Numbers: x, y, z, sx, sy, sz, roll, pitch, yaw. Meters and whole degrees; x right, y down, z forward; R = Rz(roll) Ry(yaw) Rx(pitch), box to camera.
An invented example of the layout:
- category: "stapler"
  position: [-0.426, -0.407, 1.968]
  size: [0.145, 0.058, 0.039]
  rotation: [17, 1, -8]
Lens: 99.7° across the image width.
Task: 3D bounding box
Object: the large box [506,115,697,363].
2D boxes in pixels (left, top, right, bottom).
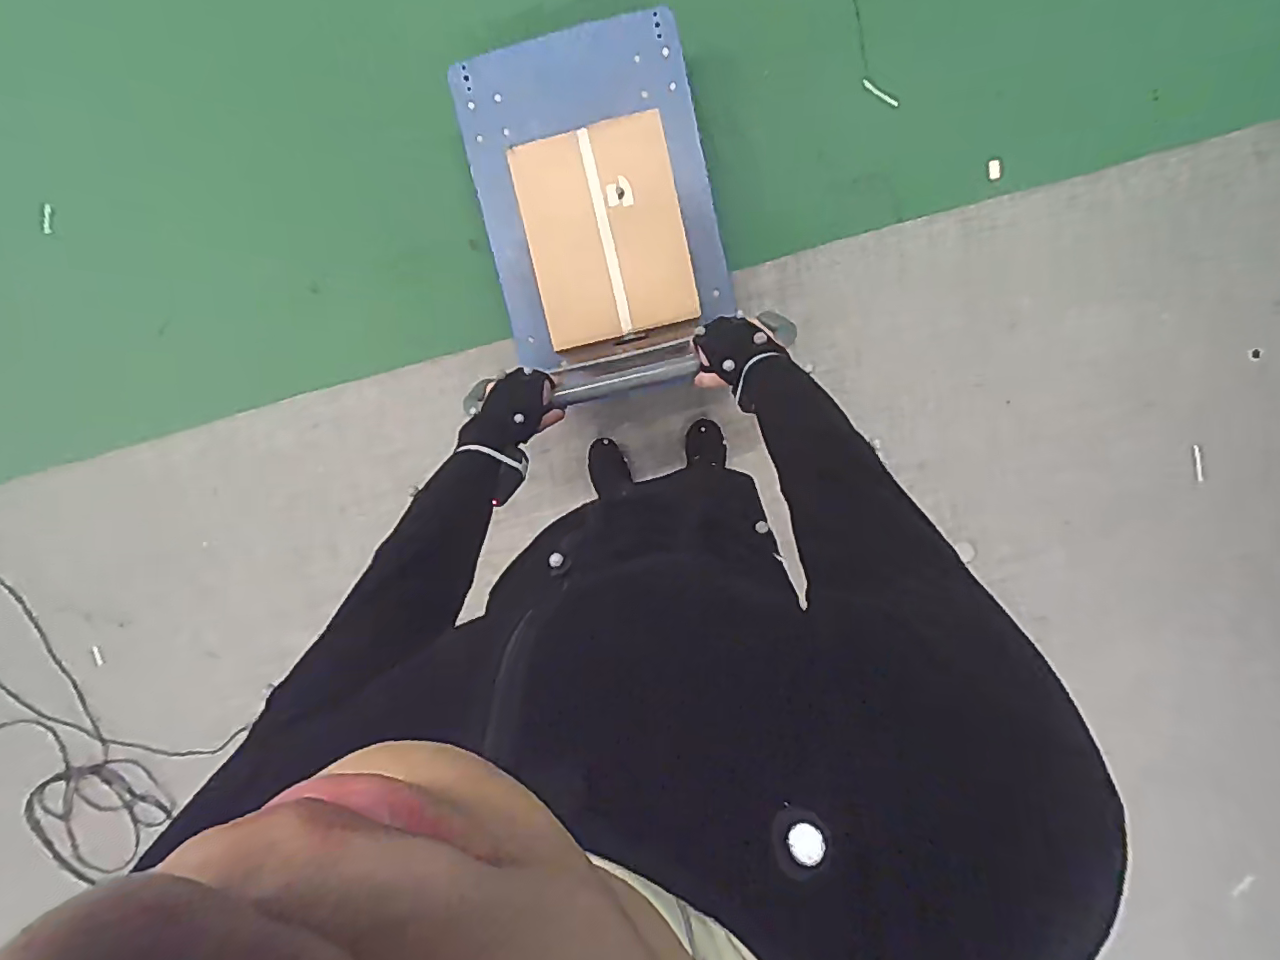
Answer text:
- category: "large box"
  position: [-0.068, -0.509, 1.236]
  size: [0.320, 0.320, 0.408]
  rotation: [-12, 97, 3]
